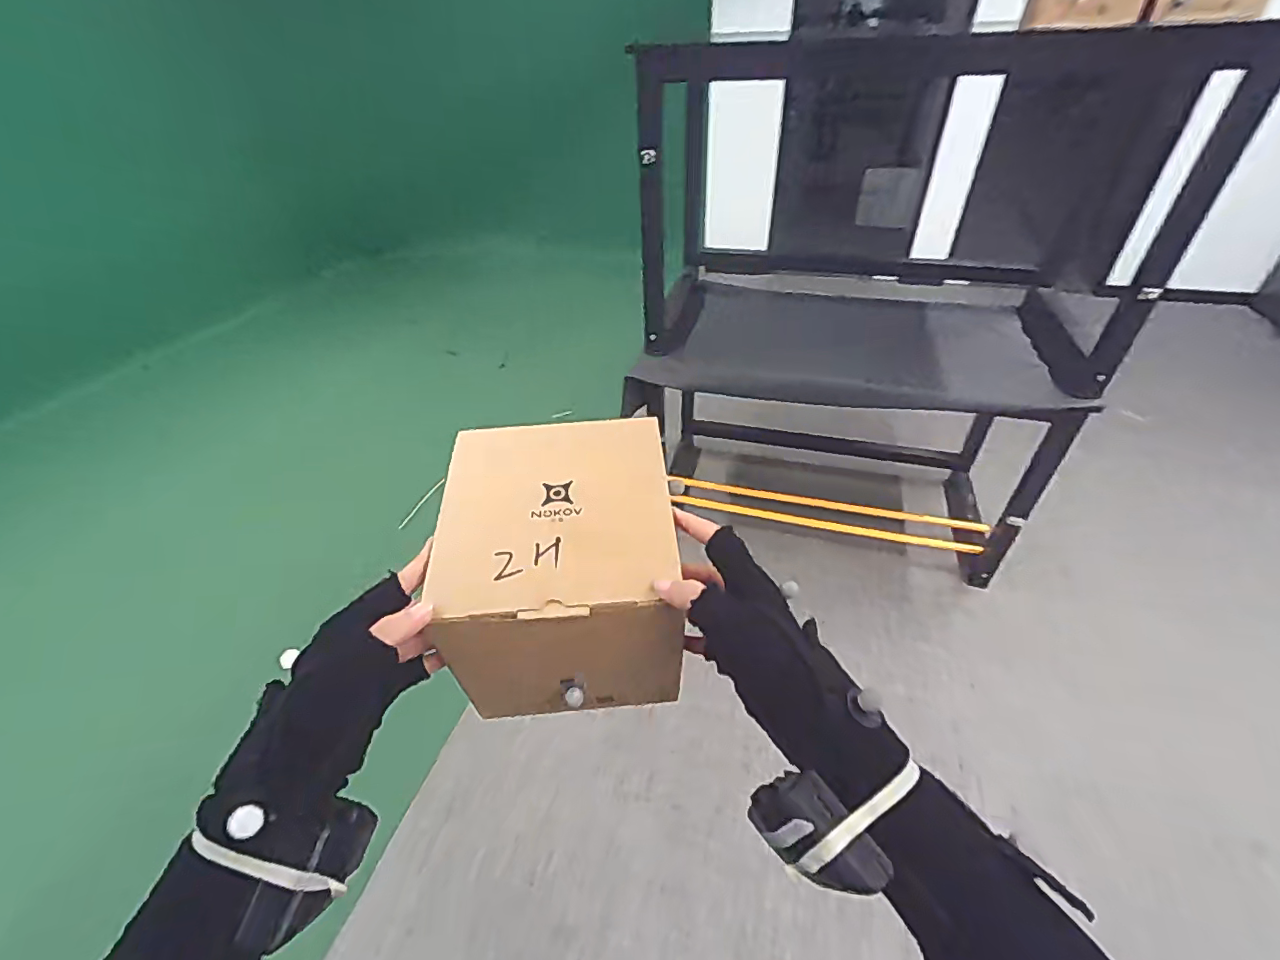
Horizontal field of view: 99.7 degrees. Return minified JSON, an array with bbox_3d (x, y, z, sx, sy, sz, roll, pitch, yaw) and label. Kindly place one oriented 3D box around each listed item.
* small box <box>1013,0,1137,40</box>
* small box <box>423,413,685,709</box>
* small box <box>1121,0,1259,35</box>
[{"bbox_3d":[0.839,-0.947,1.024,0.168,0.176,0.179,12,42,17],"label":"small box"},{"bbox_3d":[-0.056,0.066,0.448,0.168,0.176,0.179,-4,46,-1],"label":"small box"},{"bbox_3d":[1.012,-0.920,0.976,0.168,0.176,0.179,10,40,16],"label":"small box"}]
